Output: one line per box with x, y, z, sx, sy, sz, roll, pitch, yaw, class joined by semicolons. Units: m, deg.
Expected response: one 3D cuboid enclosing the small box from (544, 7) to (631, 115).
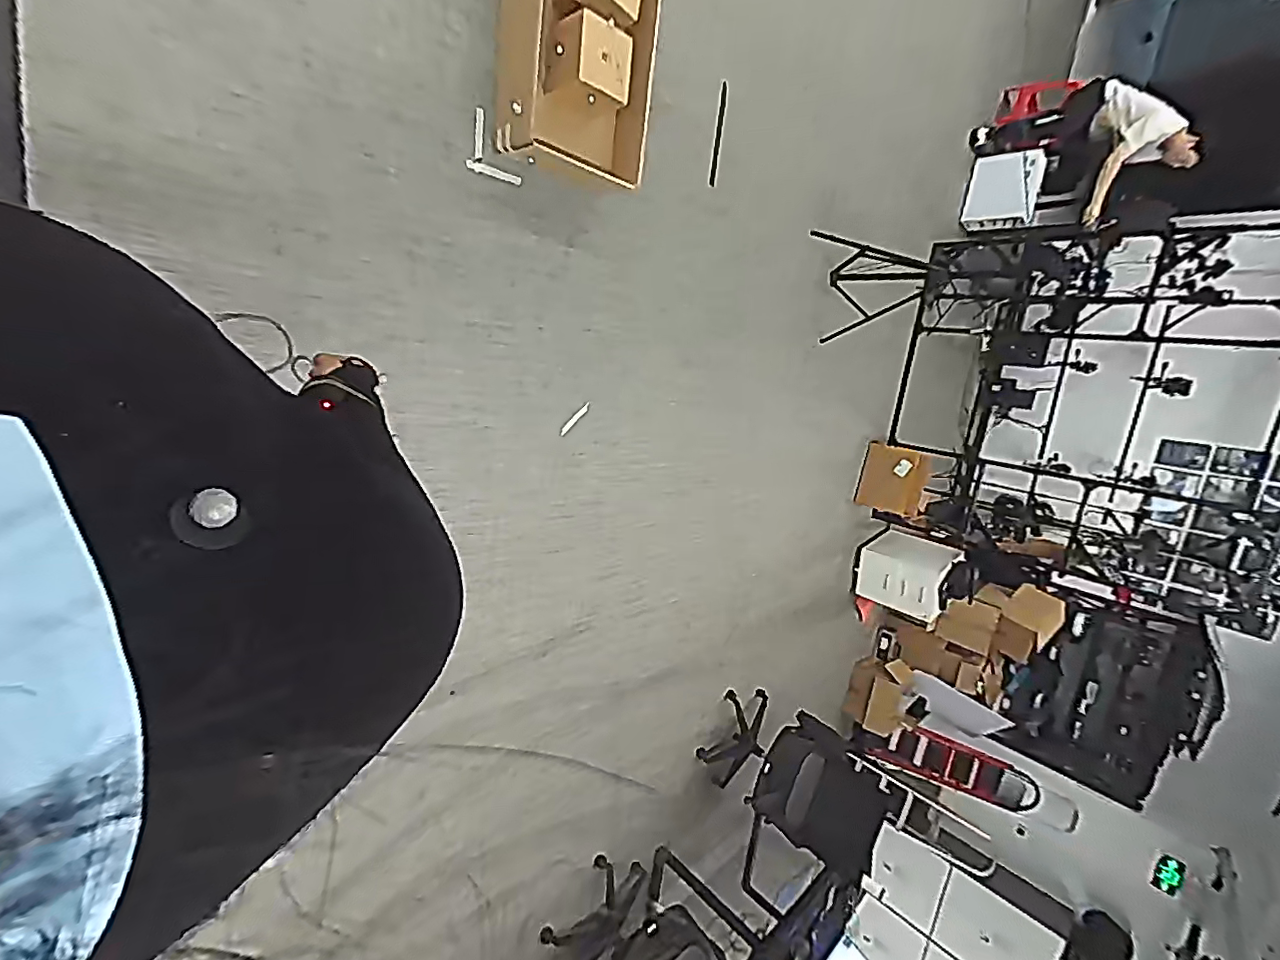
-0.150;-1.154;1.509;0.179;0.176;0.168;-6;108;-44;small box
